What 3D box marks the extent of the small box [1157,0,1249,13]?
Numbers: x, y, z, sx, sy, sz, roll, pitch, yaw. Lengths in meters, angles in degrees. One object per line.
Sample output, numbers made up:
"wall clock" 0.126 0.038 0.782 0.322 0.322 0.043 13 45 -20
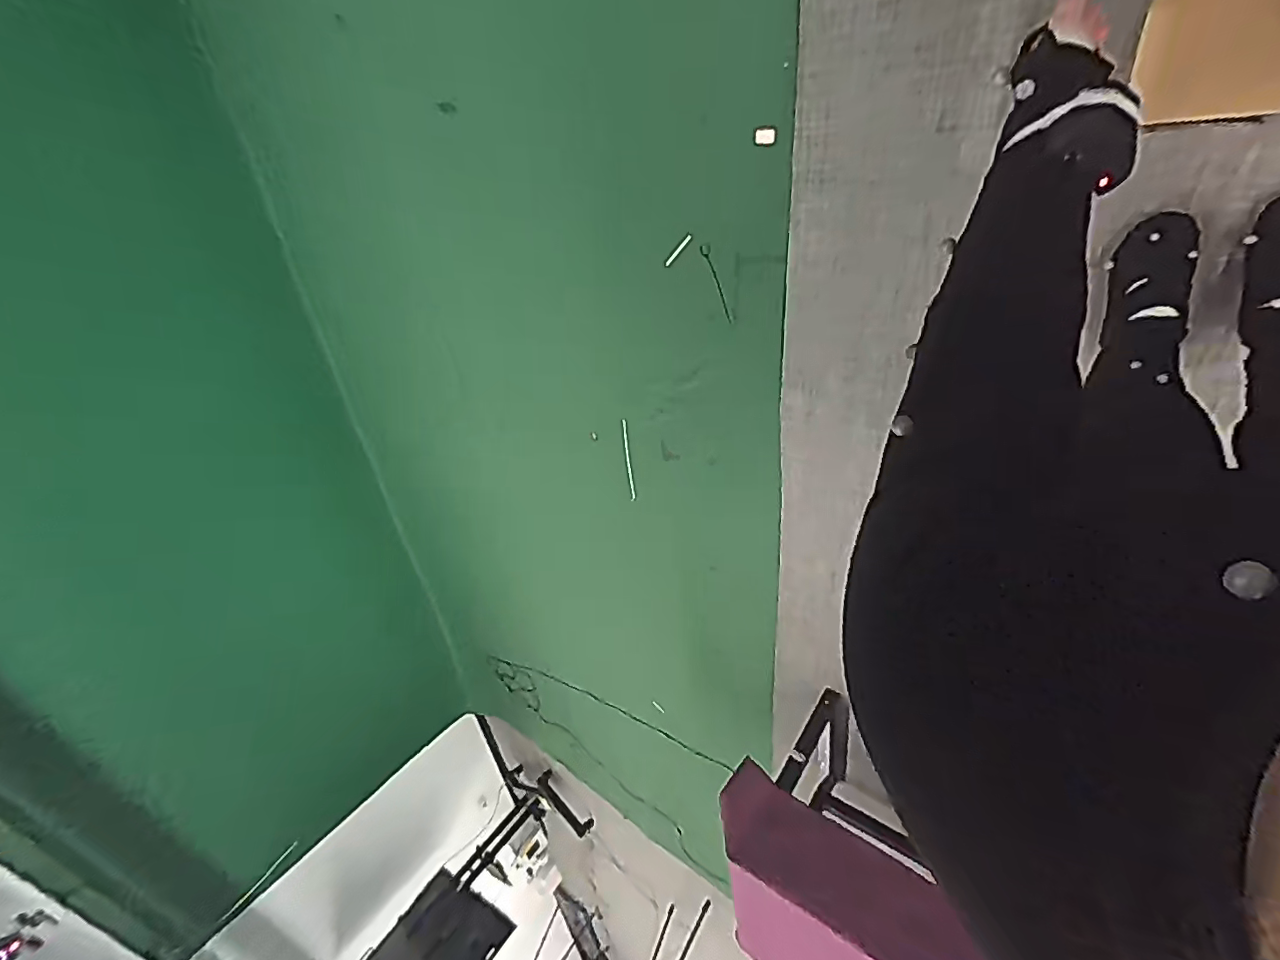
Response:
"small box" 0.652 -0.592 0.531 0.179 0.176 0.168 17 126 36
